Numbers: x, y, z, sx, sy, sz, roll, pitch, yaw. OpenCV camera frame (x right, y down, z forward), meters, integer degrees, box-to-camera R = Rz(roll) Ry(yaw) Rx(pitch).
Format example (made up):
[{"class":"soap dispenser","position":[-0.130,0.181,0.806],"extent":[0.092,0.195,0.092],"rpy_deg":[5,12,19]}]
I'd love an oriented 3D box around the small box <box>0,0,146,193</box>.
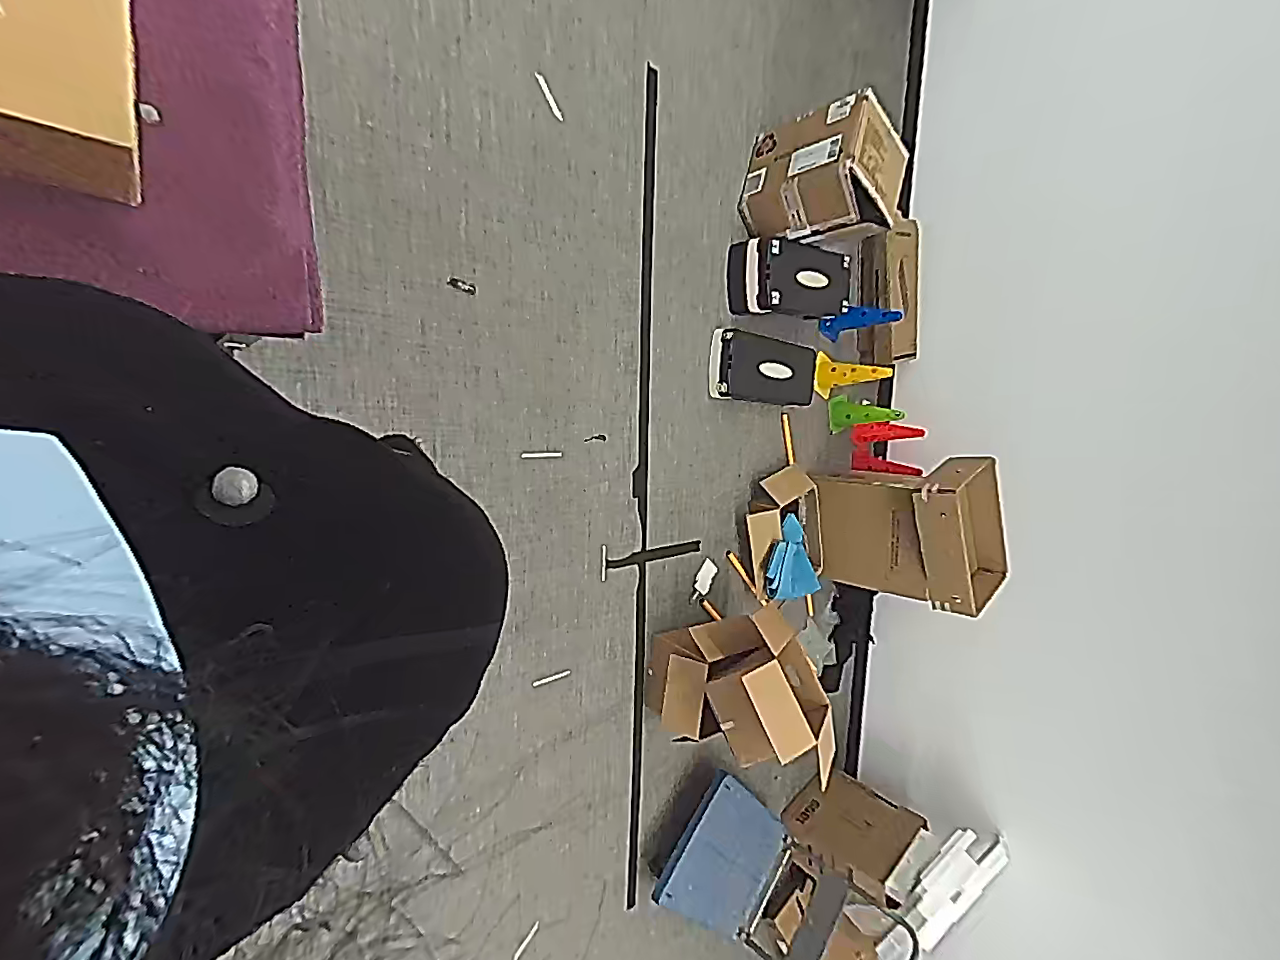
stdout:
[{"class":"small box","position":[-0.524,-0.359,0.441],"extent":[0.179,0.176,0.168],"rpy_deg":[-2,97,-41]}]
